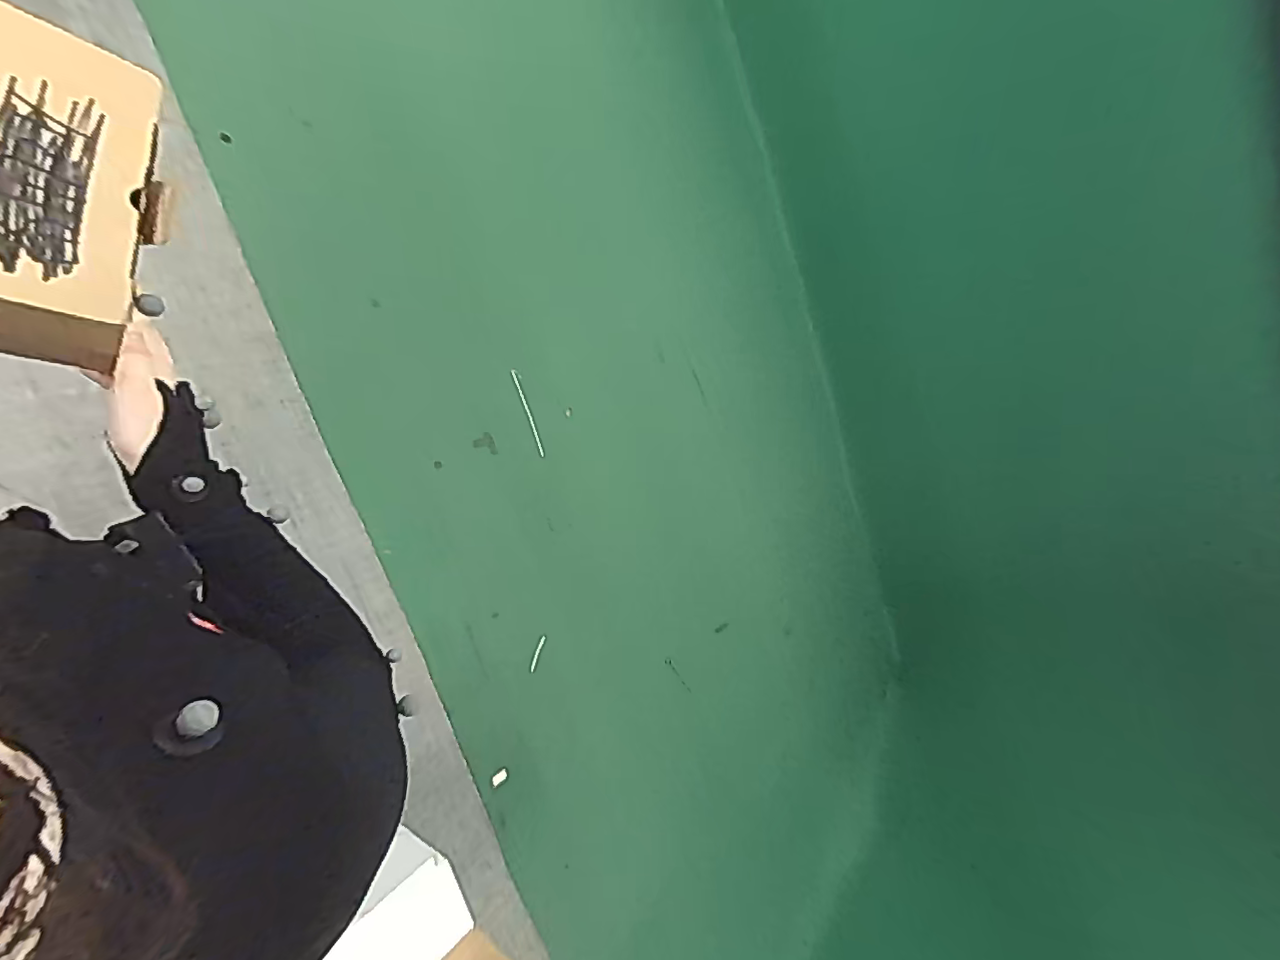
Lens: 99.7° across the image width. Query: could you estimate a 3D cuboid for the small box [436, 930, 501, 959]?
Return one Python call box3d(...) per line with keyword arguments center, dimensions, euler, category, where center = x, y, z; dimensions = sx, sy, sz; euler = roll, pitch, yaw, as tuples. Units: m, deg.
box3d(center=(-0.276, 0.872, 0.847), dimensions=(0.179, 0.176, 0.168), euler=(-26, 102, -45), category="small box")
